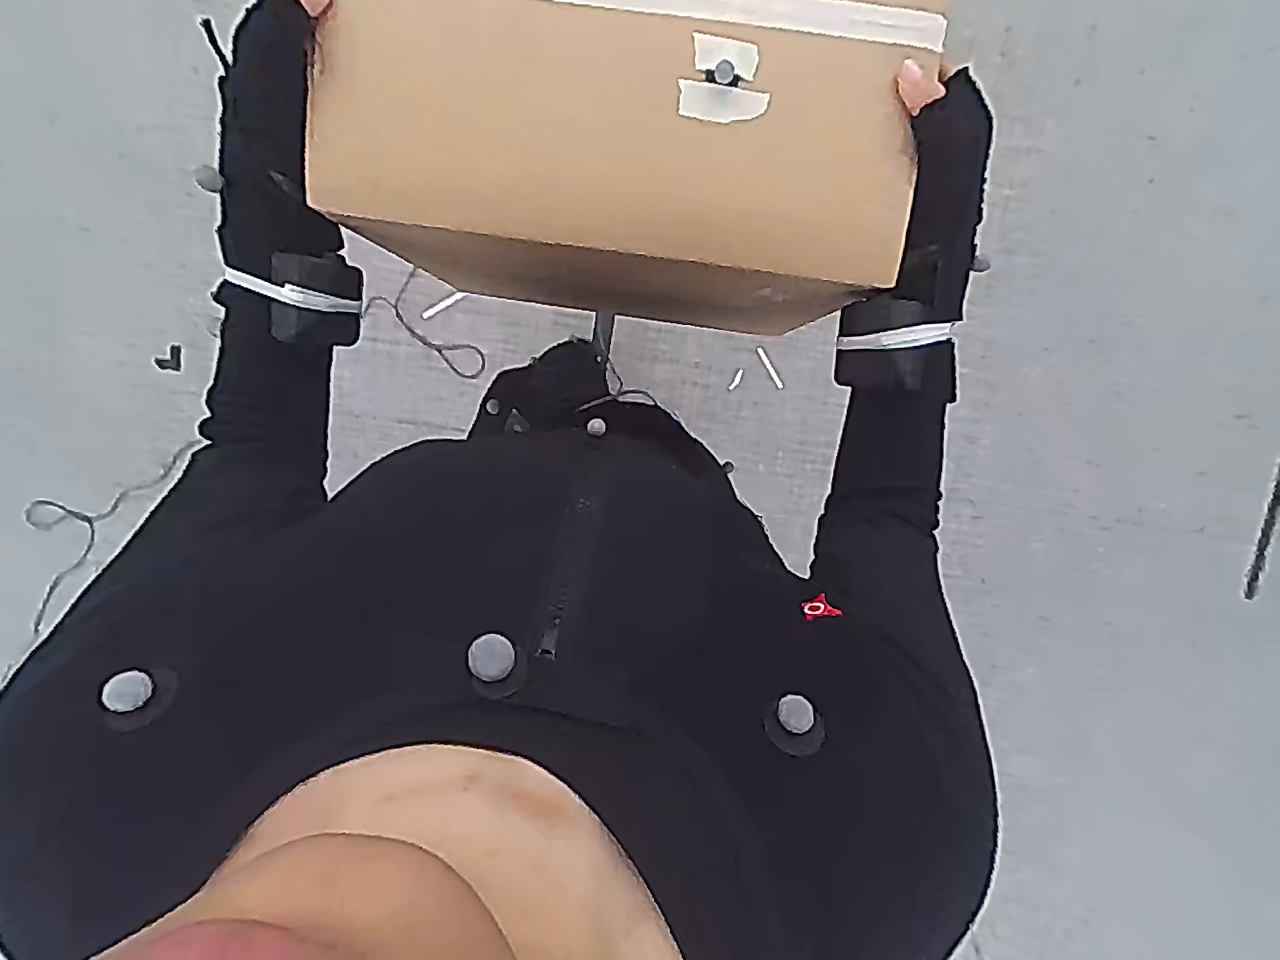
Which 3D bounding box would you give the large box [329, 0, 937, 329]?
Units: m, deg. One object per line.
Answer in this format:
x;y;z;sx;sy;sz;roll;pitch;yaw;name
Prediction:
-0.006;-0.335;0.505;0.408;0.320;0.320;7;100;-2;large box
